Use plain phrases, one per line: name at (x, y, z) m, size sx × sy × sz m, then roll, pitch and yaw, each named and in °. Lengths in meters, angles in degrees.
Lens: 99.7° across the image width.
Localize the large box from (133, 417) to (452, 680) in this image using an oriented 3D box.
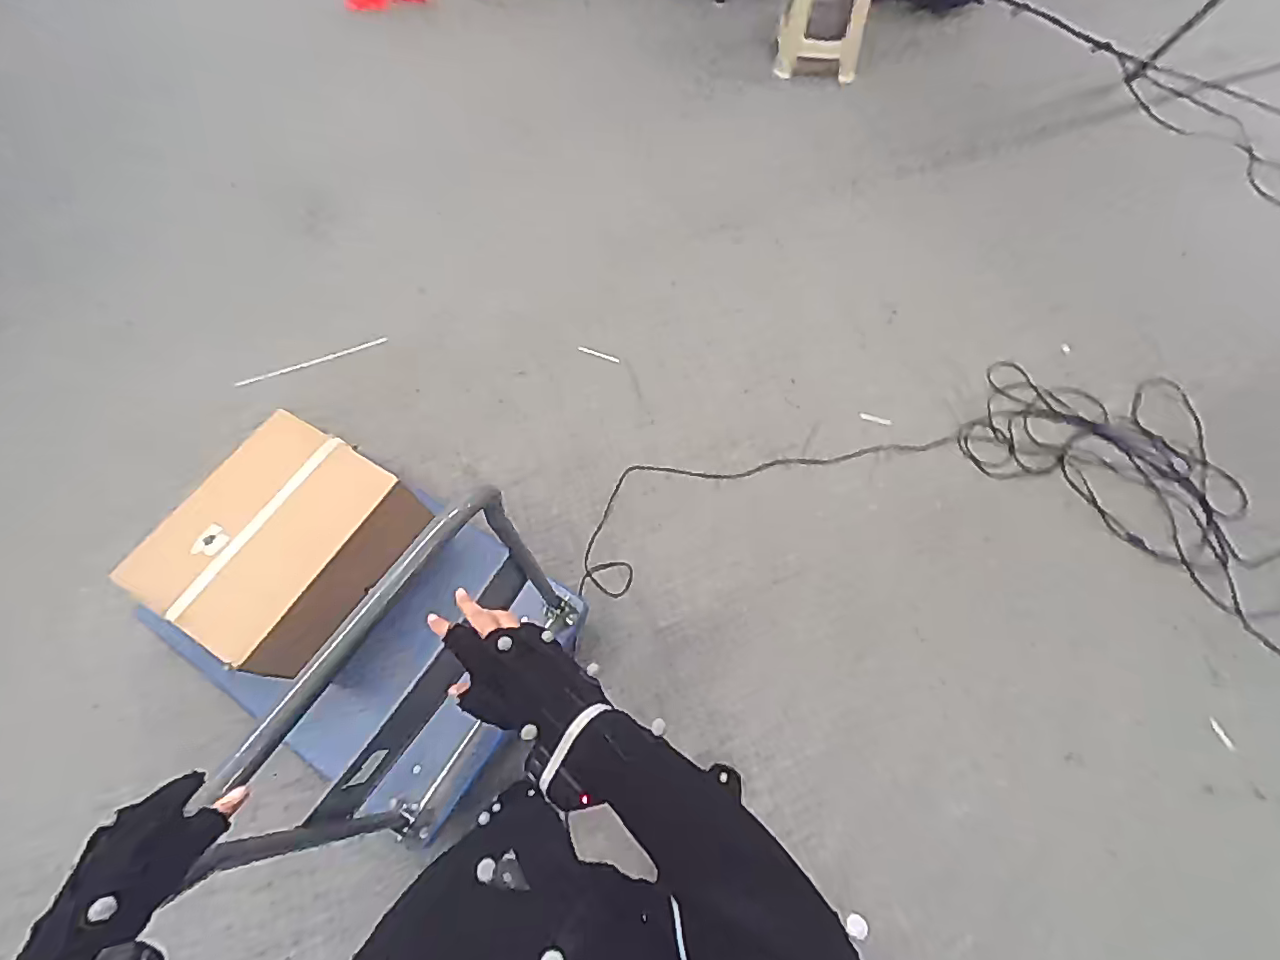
large box at (-0.676, 0.153, 1.135) m, size 0.320 × 0.320 × 0.408 m, roll 28°, pitch 69°, yaw 13°
